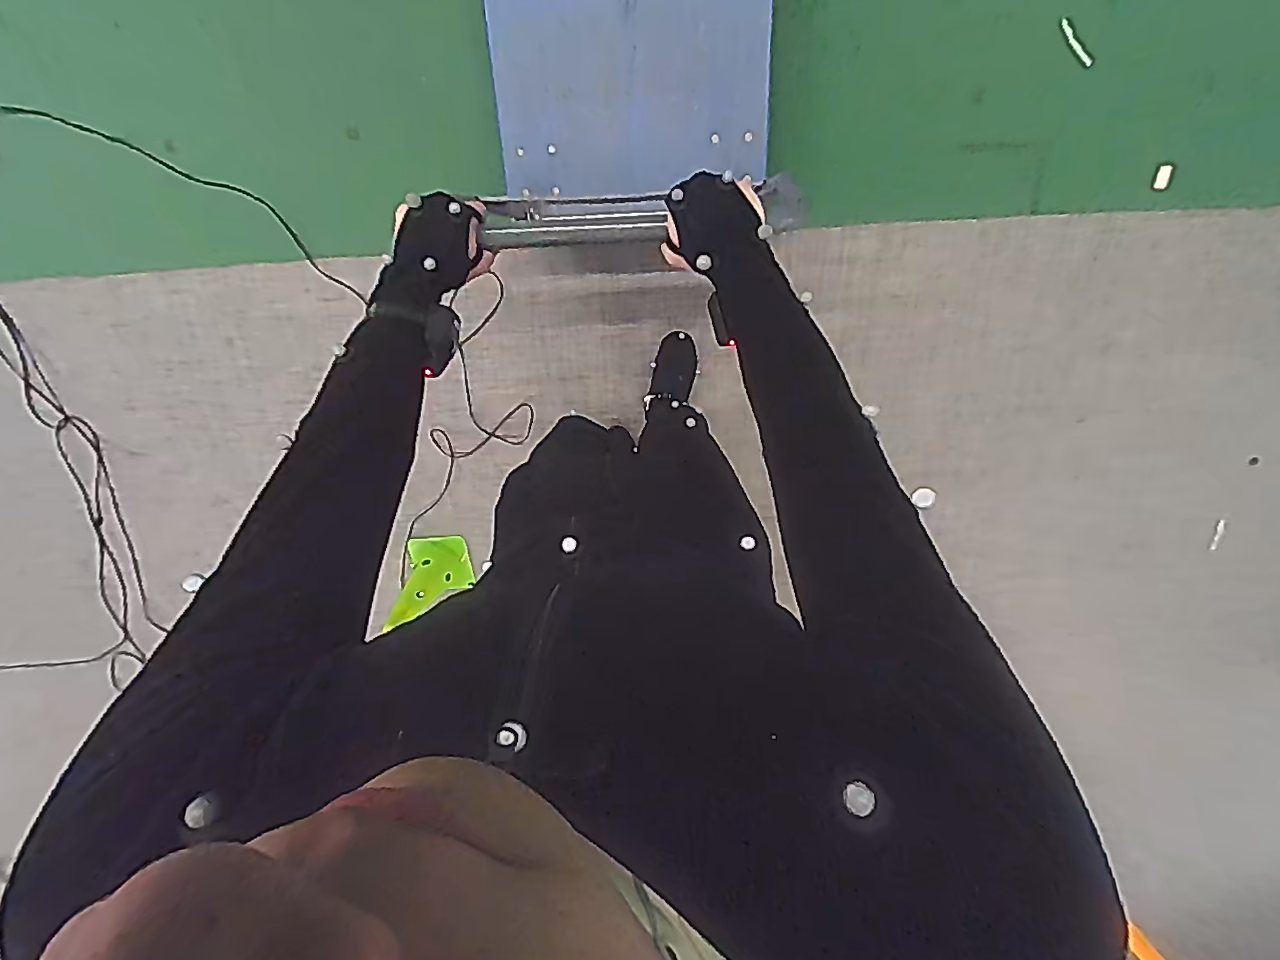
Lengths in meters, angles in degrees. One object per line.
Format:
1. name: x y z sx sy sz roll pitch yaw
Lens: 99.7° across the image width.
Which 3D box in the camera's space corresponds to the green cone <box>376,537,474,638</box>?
1. green cone: -0.685 0.348 1.647 0.202 0.368 0.200 -4 112 8
